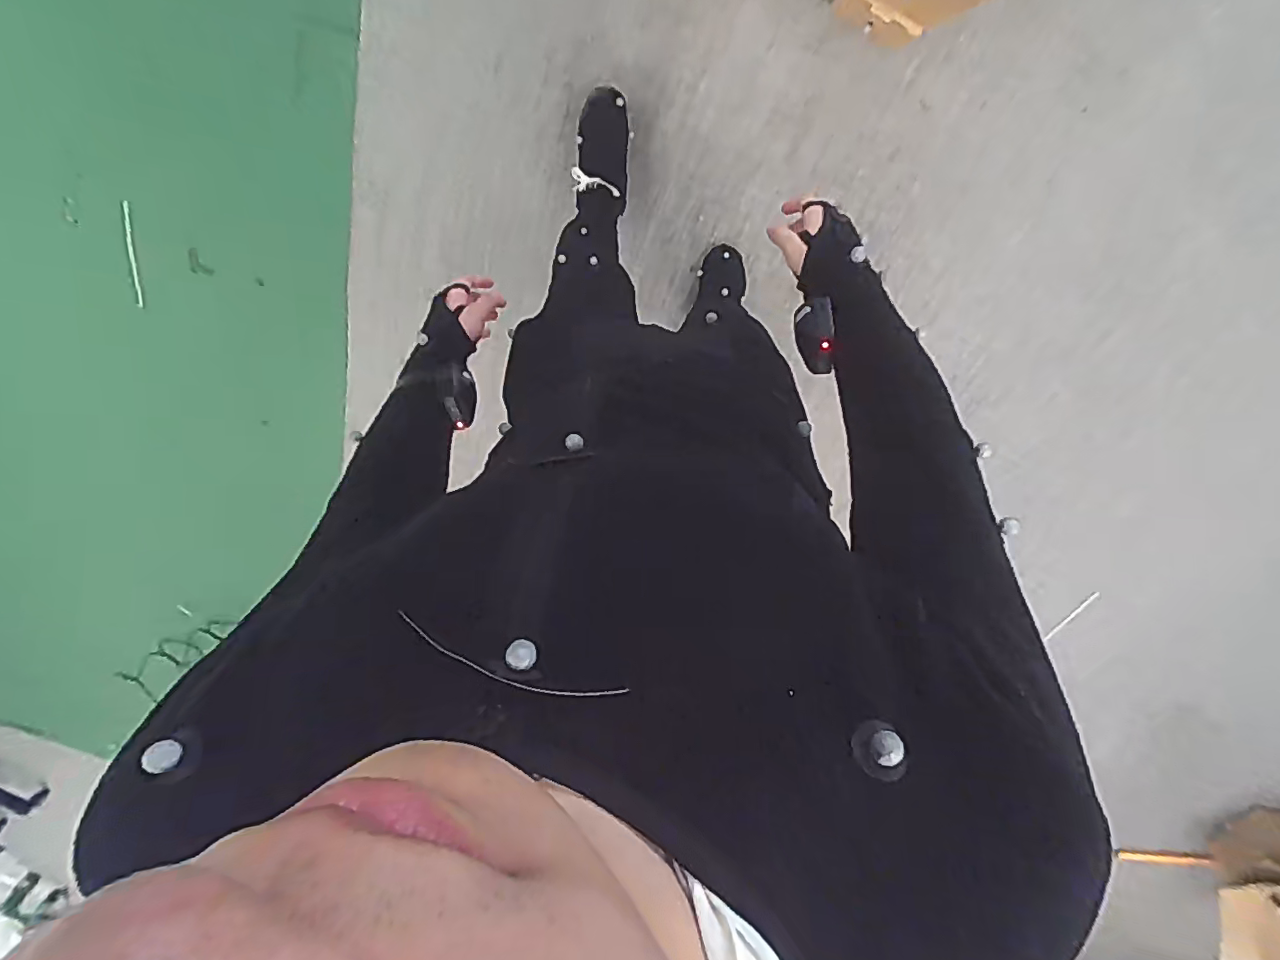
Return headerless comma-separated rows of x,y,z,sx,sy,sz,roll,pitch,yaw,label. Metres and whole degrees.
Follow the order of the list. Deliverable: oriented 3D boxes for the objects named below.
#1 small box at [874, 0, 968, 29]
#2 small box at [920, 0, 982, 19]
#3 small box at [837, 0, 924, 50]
0.482,-0.872,0.875,0.179,0.176,0.168,26,121,-6,small box
0.451,-0.783,0.741,0.179,0.176,0.168,29,122,-9,small box
0.492,-0.952,1.016,0.168,0.176,0.179,26,122,-8,small box
